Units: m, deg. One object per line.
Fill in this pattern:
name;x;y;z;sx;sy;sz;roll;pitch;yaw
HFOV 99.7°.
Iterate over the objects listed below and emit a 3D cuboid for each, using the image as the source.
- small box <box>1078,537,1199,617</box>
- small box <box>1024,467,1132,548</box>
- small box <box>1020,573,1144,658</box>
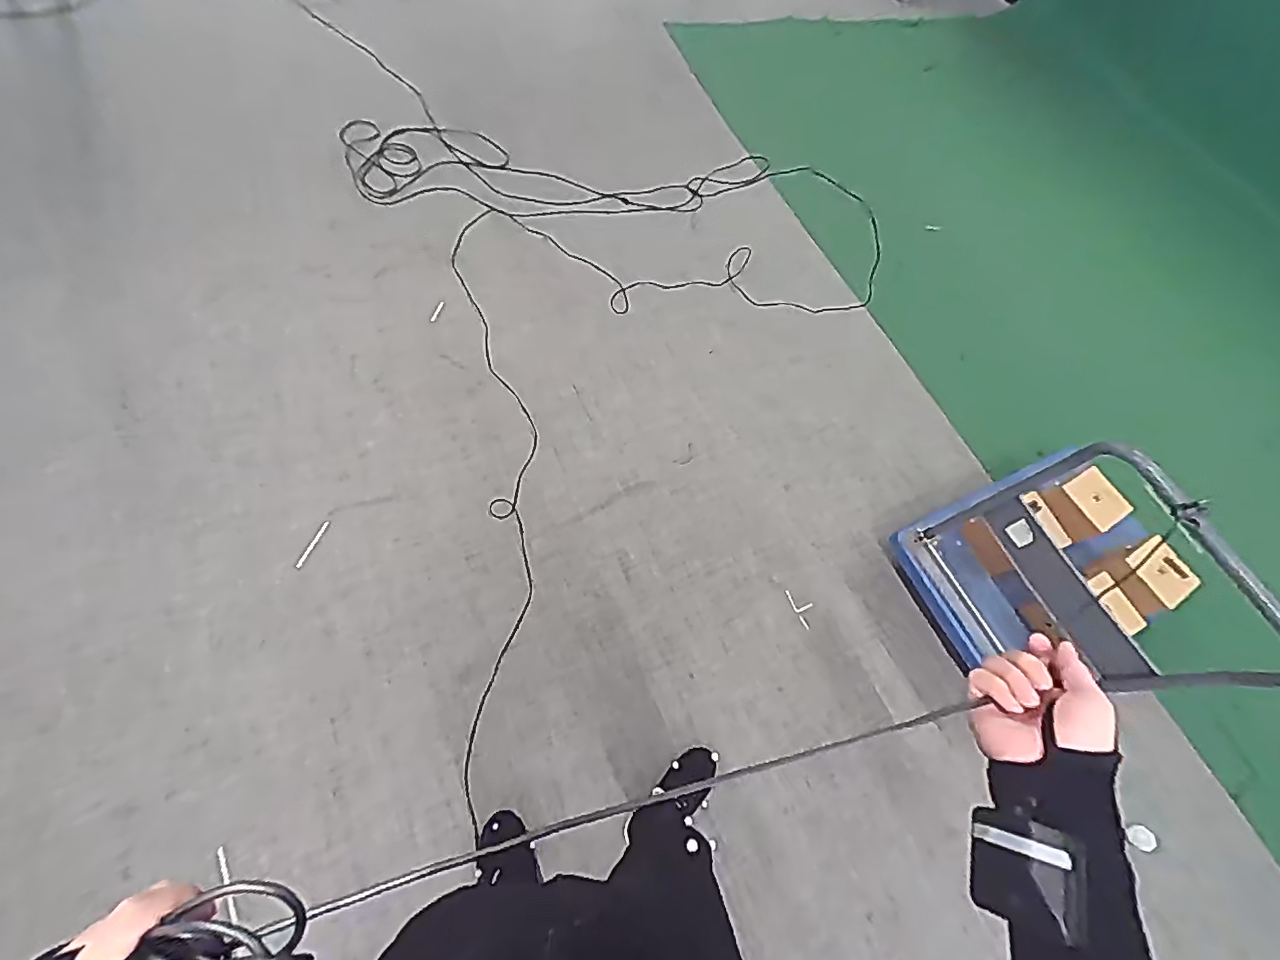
small box;1.472;0.296;1.608;0.179;0.176;0.168;-24;71;-19
small box;1.349;0.090;1.683;0.179;0.176;0.168;-24;72;-20
small box;1.232;0.384;1.520;0.179;0.176;0.168;-19;70;-18
